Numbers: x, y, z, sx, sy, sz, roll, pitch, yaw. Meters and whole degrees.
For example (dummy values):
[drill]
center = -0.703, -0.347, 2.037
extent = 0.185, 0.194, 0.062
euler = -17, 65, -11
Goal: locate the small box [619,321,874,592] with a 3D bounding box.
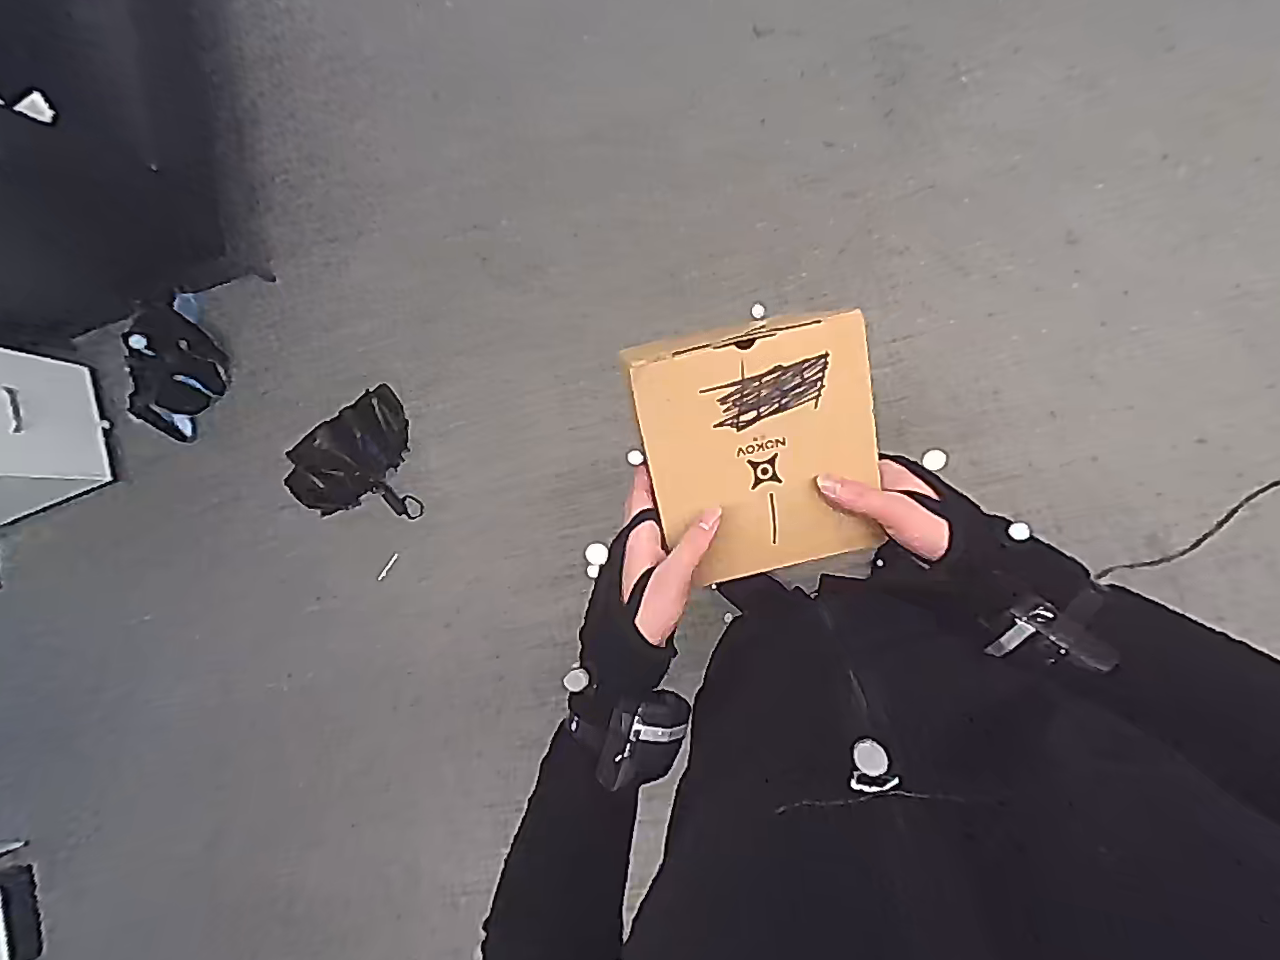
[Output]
[small box]
center = 0.079, -0.033, 0.472
extent = 0.168, 0.176, 0.179
euler = -13, 107, 0
